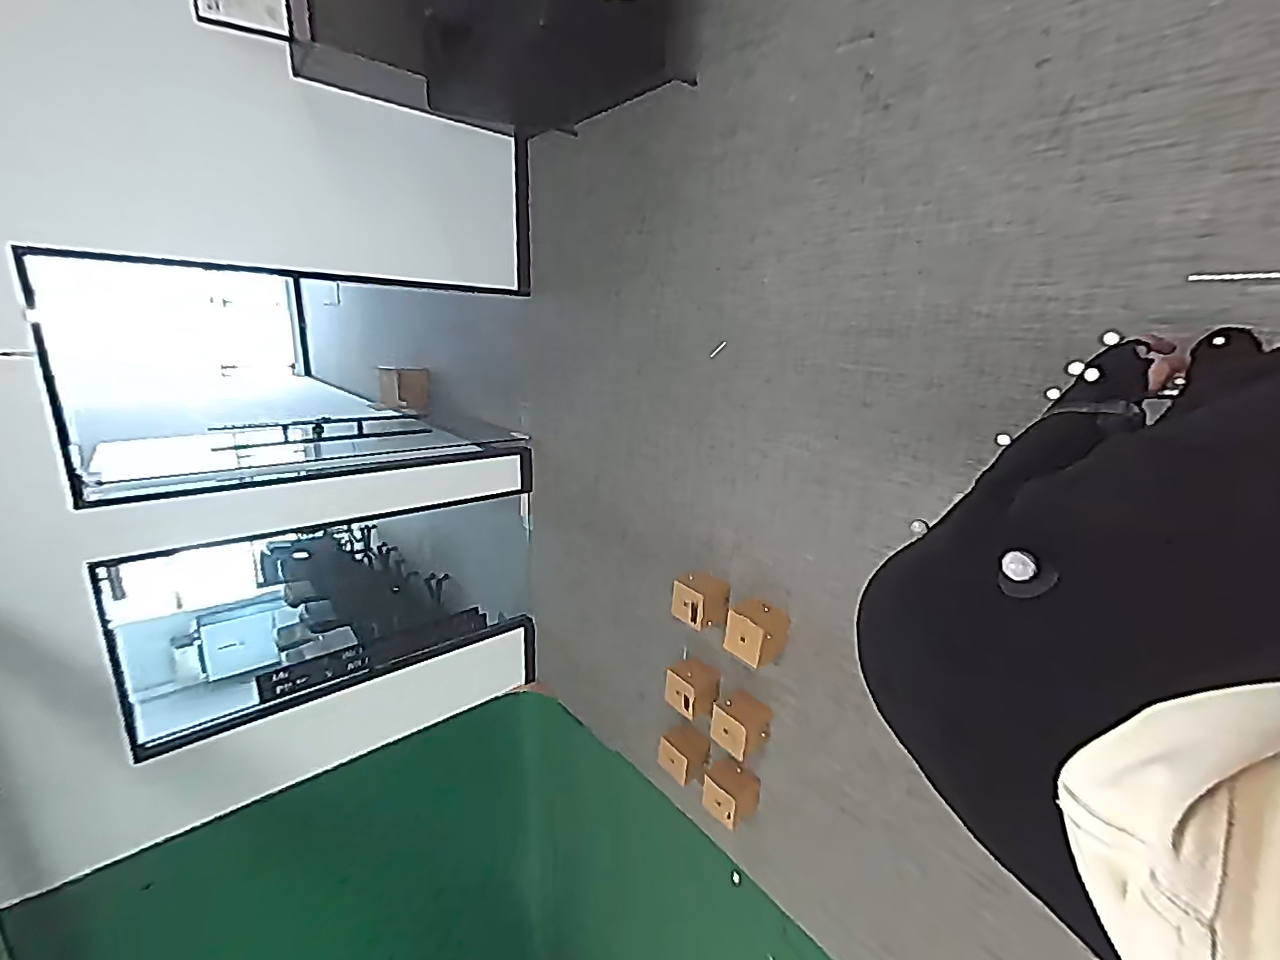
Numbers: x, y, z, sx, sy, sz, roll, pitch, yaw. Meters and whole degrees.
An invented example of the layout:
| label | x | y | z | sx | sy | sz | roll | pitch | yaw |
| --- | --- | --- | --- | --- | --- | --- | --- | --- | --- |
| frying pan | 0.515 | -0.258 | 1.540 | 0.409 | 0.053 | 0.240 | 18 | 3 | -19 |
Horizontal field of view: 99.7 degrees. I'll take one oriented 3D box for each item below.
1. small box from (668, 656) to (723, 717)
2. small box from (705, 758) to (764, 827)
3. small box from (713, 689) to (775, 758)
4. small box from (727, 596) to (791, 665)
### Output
| label | x | y | z | sx | sy | sz | roll | pitch | yaw |
| --- | --- | --- | --- | --- | --- | --- | --- | --- | --- |
| small box | 0.250 | 0.918 | 2.425 | 0.179 | 0.176 | 0.168 | 23 | 115 | 47 |
| small box | 0.407 | 1.333 | 2.327 | 0.179 | 0.176 | 0.168 | 21 | 115 | 48 |
| small box | 0.428 | 0.991 | 2.224 | 0.179 | 0.176 | 0.168 | 22 | 115 | 46 |
| small box | 0.462 | 0.578 | 2.093 | 0.168 | 0.176 | 0.179 | 23 | 115 | 46 |
